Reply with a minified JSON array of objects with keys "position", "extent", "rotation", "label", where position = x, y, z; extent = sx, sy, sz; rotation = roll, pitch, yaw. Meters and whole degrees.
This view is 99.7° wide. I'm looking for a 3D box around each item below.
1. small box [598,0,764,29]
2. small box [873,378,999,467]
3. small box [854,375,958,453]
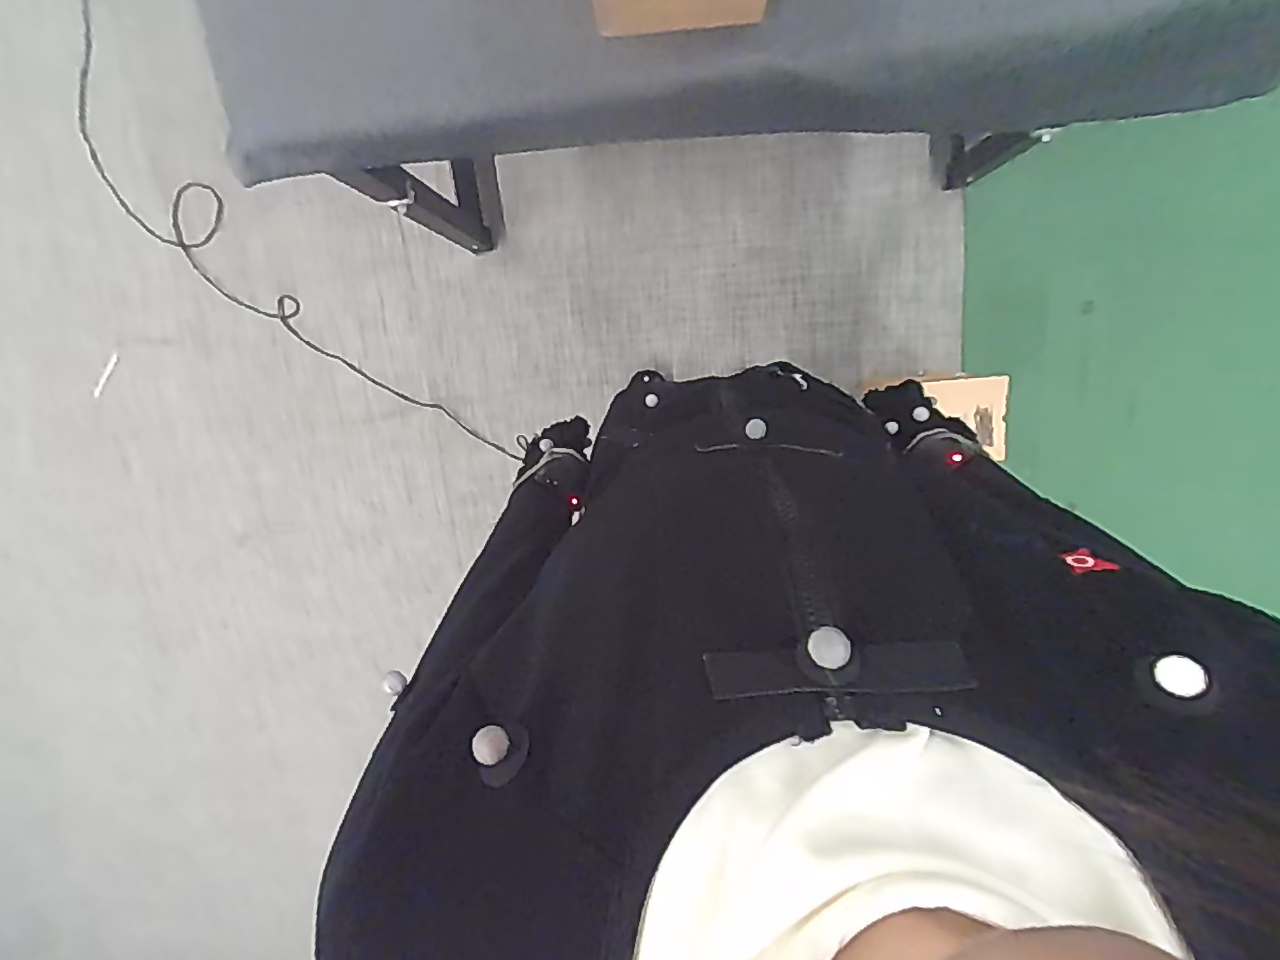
[{"position":[0.037,-0.551,0.489],"extent":[0.179,0.176,0.168],"rotation":[-2,101,3],"label":"small box"},{"position":[0.609,-0.125,1.131],"extent":[0.179,0.176,0.168],"rotation":[-3,101,4],"label":"small box"},{"position":[0.629,-0.161,1.291],"extent":[0.179,0.176,0.168],"rotation":[-5,101,5],"label":"small box"}]
